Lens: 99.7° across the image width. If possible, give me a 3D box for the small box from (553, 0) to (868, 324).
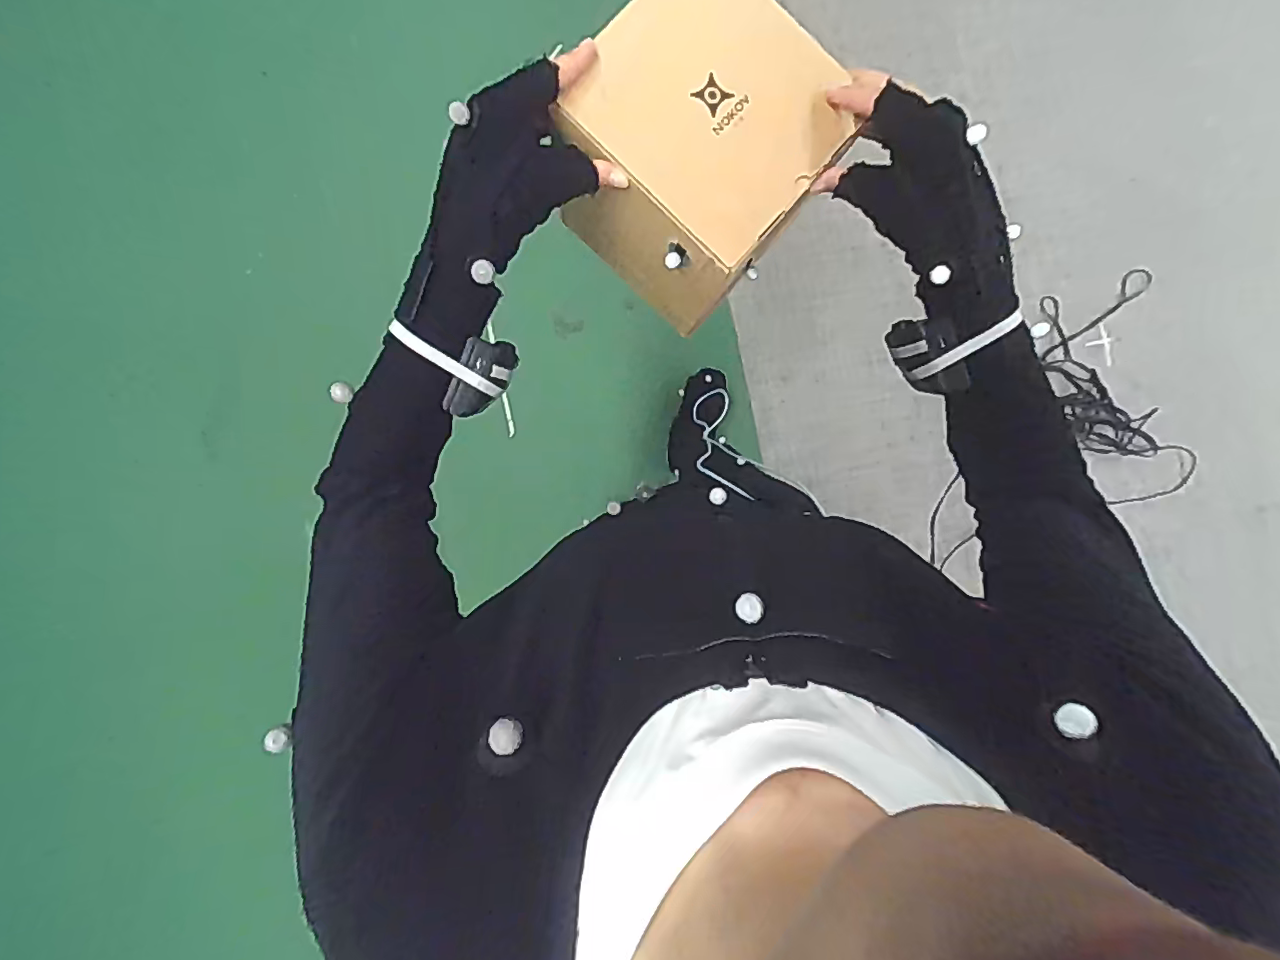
[{"bbox_3d":[0.044,-0.266,0.465,0.179,0.176,0.168,43,85,-5],"label":"small box"}]
